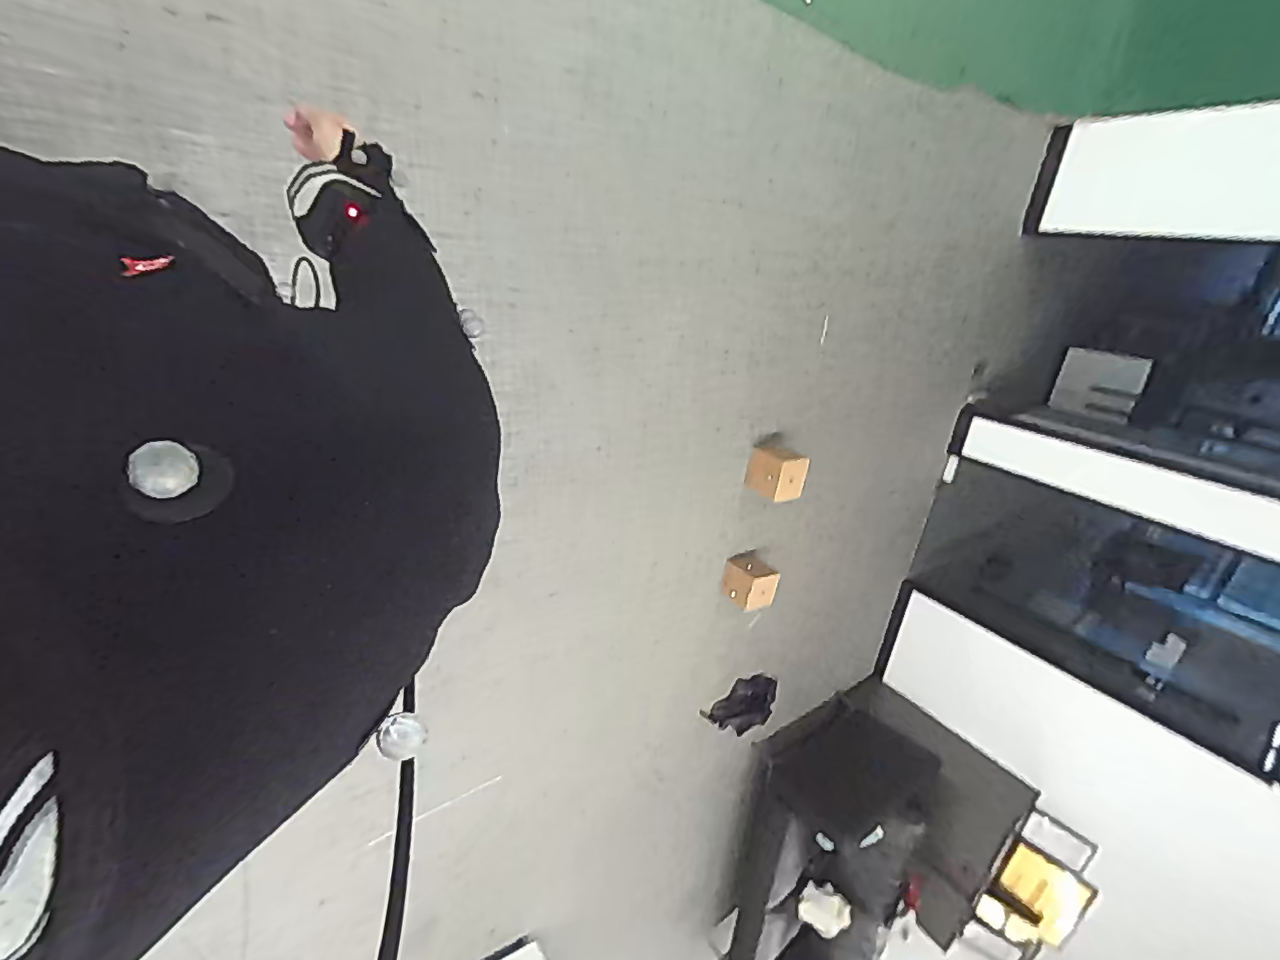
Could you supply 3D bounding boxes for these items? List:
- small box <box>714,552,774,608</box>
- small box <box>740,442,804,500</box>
[{"bbox_3d":[0.455,0.437,2.385,0.179,0.176,0.168,-5,117,-38],"label":"small box"},{"bbox_3d":[0.528,-0.042,2.186,0.168,0.176,0.179,-9,118,-35],"label":"small box"}]
